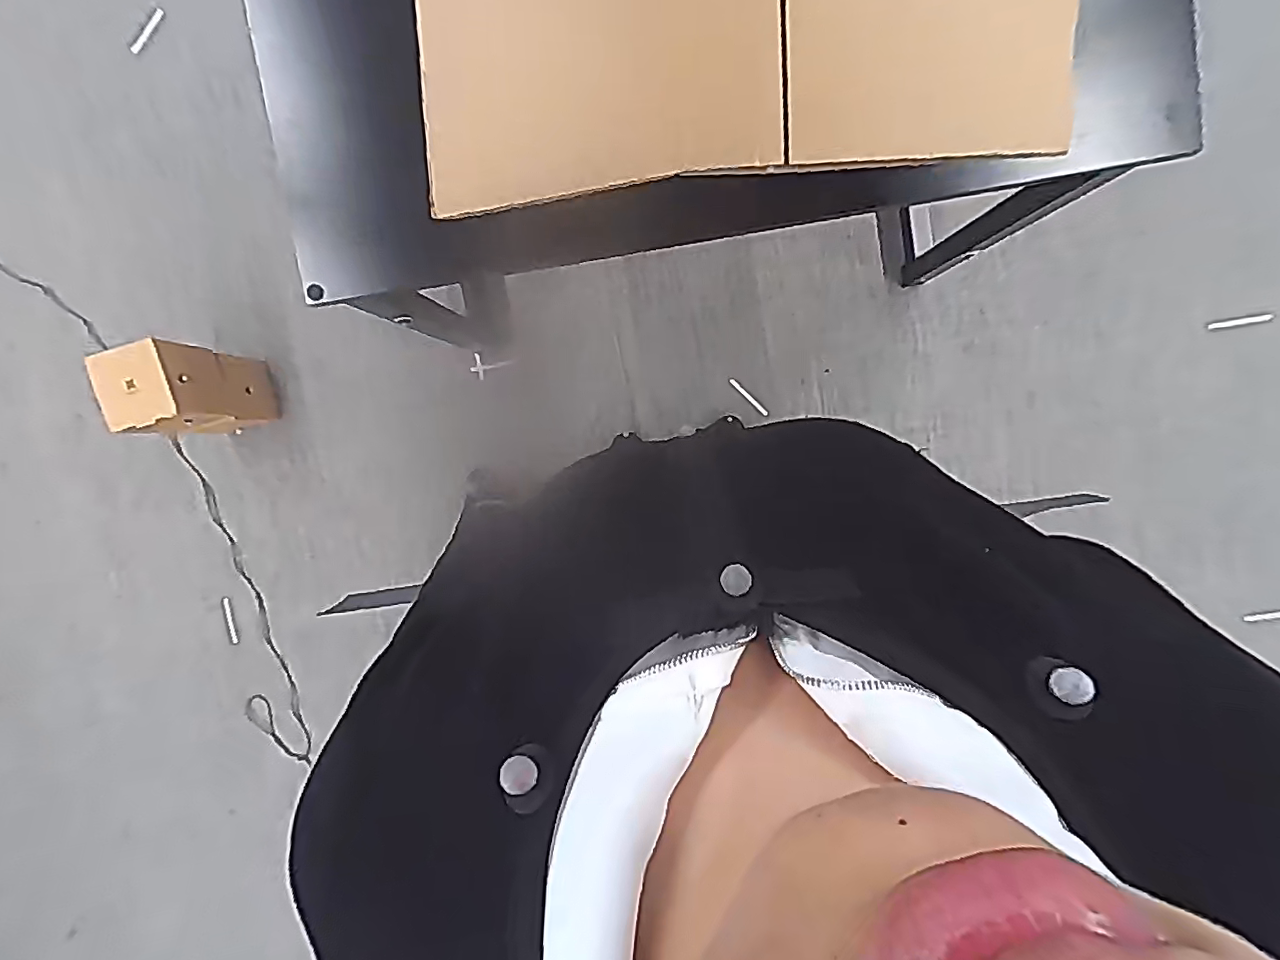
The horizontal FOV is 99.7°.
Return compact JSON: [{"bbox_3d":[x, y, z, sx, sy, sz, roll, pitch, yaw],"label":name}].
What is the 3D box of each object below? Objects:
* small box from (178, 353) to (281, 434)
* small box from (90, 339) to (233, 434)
[{"bbox_3d":[-1.105,-0.224,1.438,0.168,0.176,0.179,-12,96,3],"label":"small box"},{"bbox_3d":[-1.114,-0.214,1.276,0.168,0.176,0.179,-16,93,3],"label":"small box"}]
